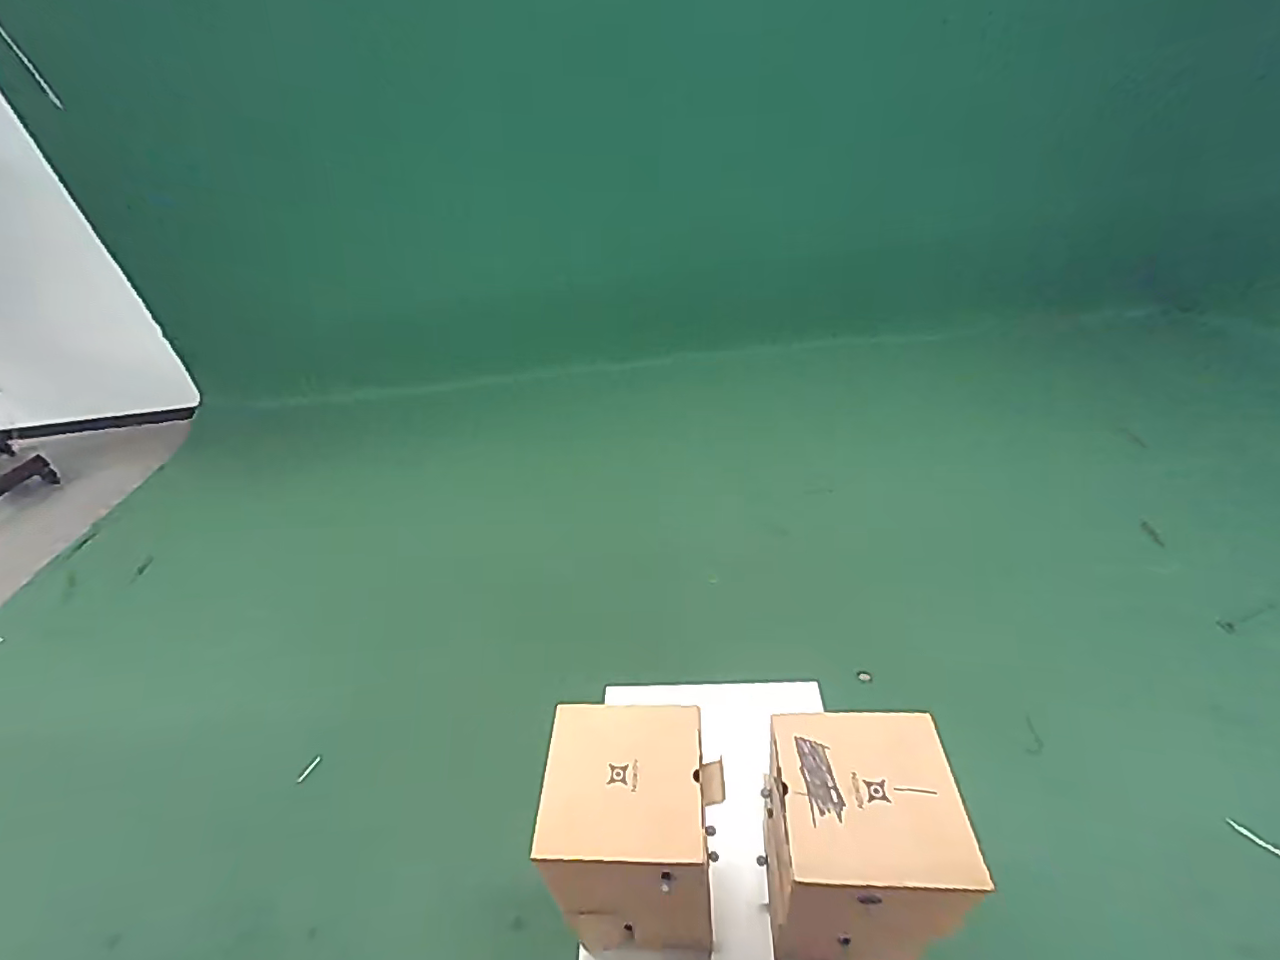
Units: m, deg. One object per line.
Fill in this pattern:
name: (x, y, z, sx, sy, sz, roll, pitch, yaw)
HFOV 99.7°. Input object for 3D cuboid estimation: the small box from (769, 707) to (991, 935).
small box: (0.237, 0.369, 0.589, 0.179, 0.176, 0.168, -2, 39, 7)
